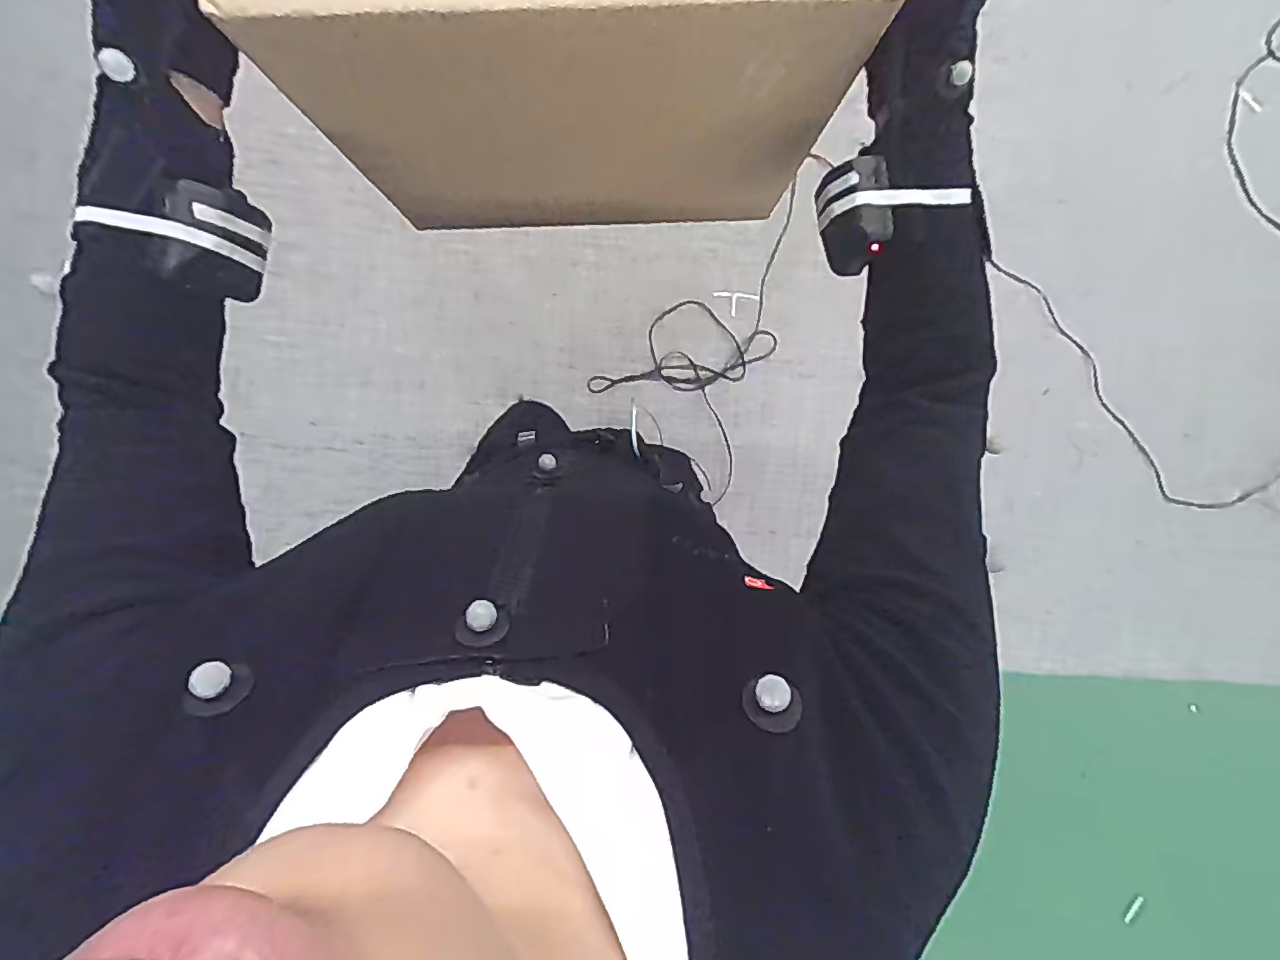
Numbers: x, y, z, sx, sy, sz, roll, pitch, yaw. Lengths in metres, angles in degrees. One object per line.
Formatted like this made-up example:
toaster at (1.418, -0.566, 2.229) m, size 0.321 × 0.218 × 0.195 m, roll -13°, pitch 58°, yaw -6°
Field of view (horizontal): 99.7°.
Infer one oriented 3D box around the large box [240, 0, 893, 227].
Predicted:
large box at (-0.054, -0.440, 0.461) m, size 0.408 × 0.320 × 0.320 m, roll -3°, pitch 94°, yaw -2°
